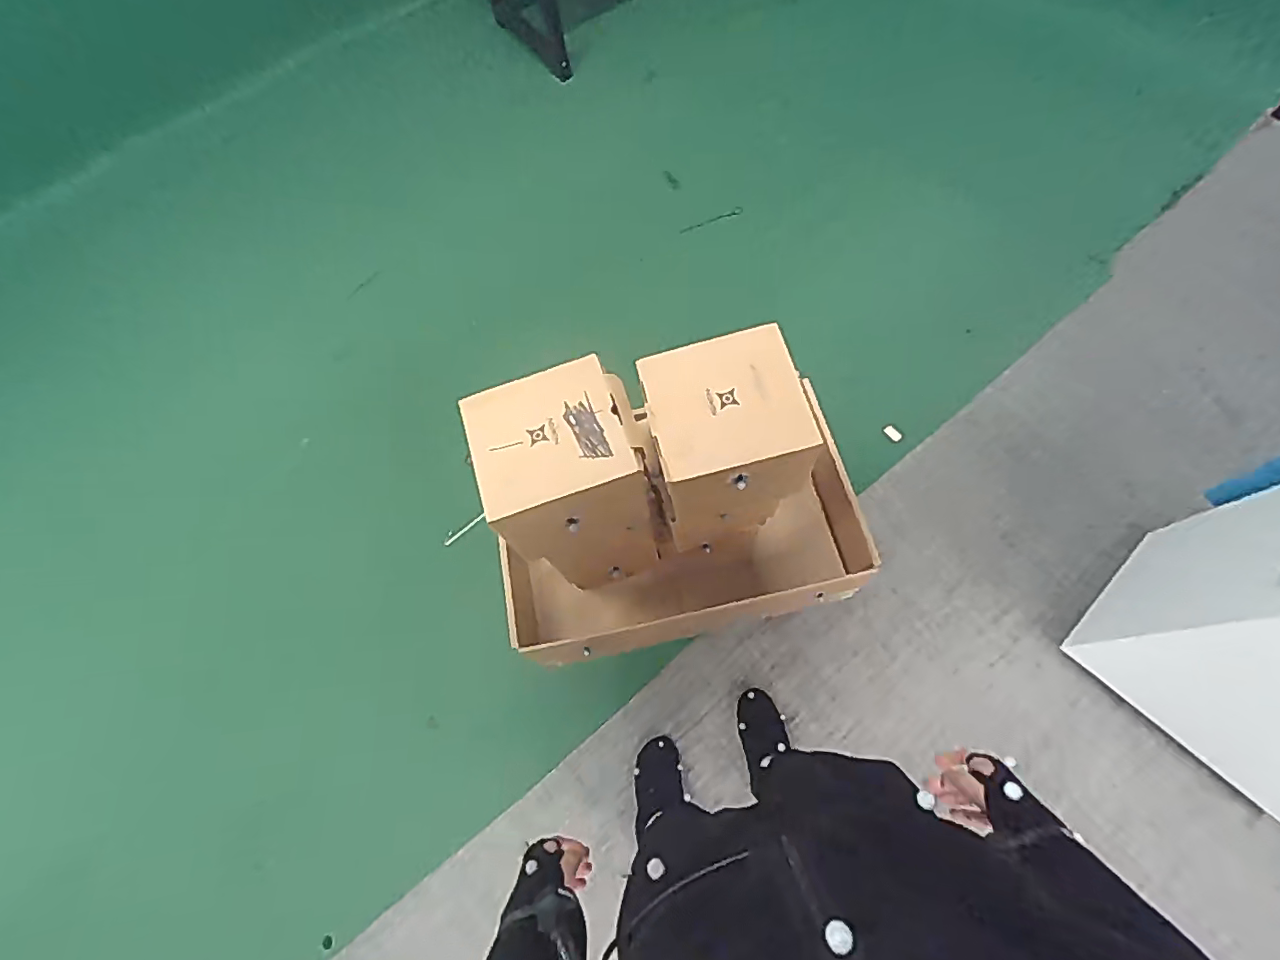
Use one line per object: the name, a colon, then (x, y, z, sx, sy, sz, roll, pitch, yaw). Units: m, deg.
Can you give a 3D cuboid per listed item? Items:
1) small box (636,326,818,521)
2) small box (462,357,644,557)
small box: (0.105, -0.060, 0.686, 0.179, 0.176, 0.168, -14, 67, 3)
small box: (-0.099, -0.020, 0.686, 0.179, 0.176, 0.168, -19, 66, -2)
